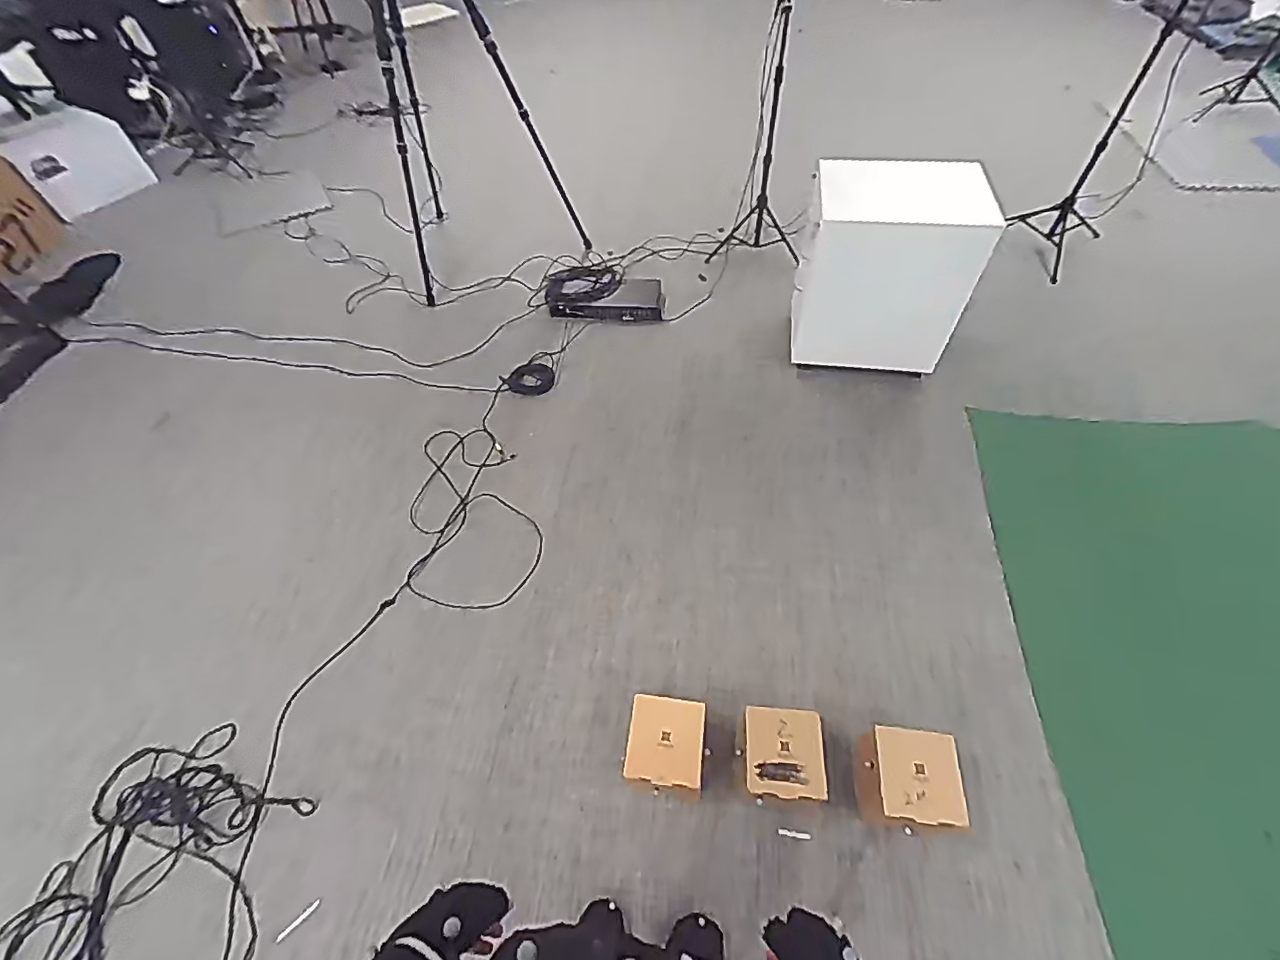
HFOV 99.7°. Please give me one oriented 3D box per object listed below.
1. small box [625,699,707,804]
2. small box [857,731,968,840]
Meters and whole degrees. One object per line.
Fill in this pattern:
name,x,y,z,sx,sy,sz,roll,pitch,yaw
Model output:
small box,0.065,0.635,1.262,0.168,0.176,0.179,4,54,8
small box,0.589,0.677,1.196,0.168,0.176,0.179,5,54,8
